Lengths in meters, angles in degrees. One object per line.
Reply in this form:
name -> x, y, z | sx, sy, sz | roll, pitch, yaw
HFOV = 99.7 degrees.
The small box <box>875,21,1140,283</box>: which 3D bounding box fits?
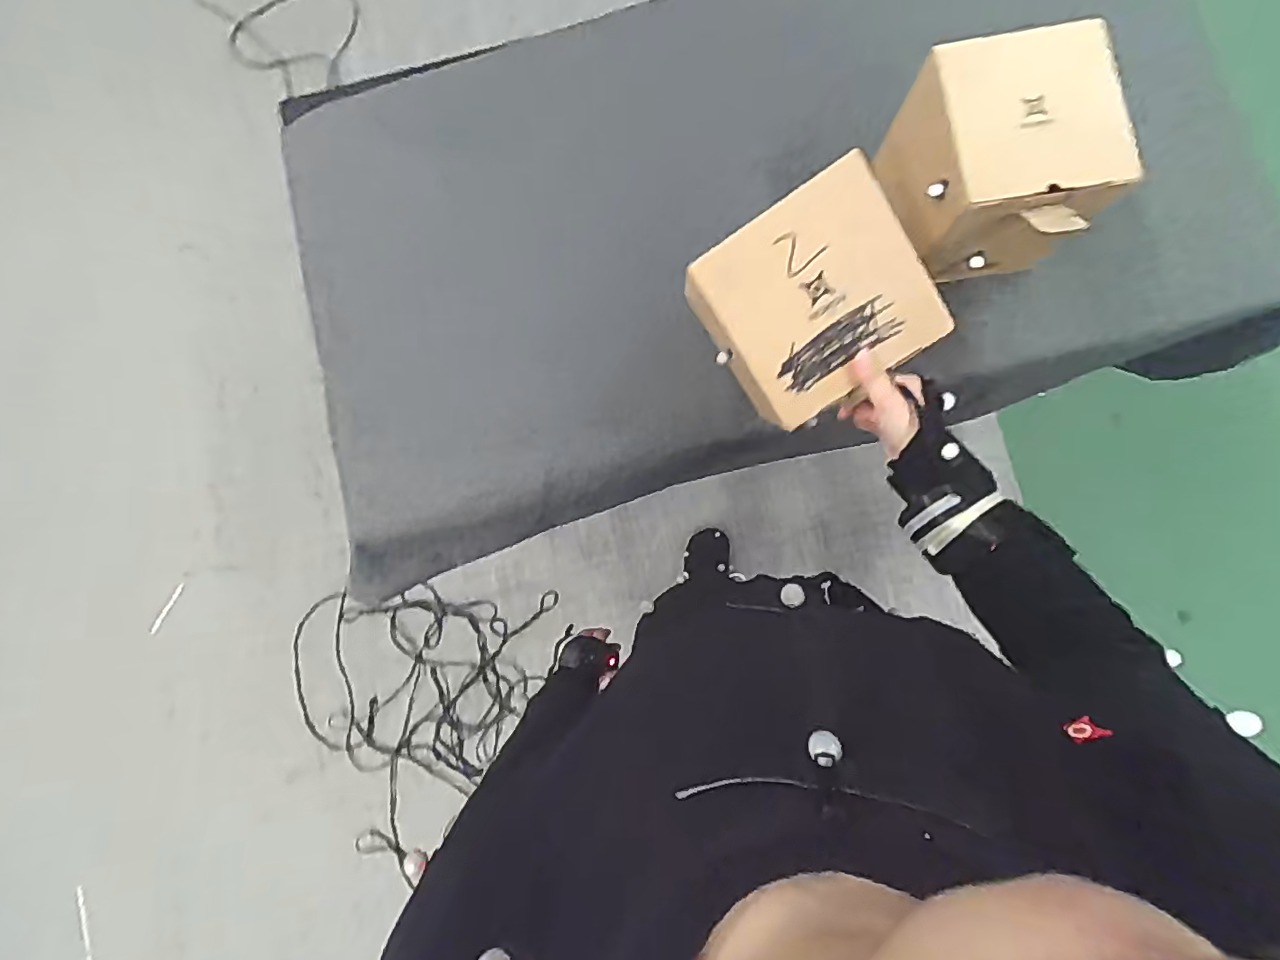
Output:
small box -> 0.385, -0.349, 0.603 | 0.168, 0.176, 0.179 | -9, 83, 1
